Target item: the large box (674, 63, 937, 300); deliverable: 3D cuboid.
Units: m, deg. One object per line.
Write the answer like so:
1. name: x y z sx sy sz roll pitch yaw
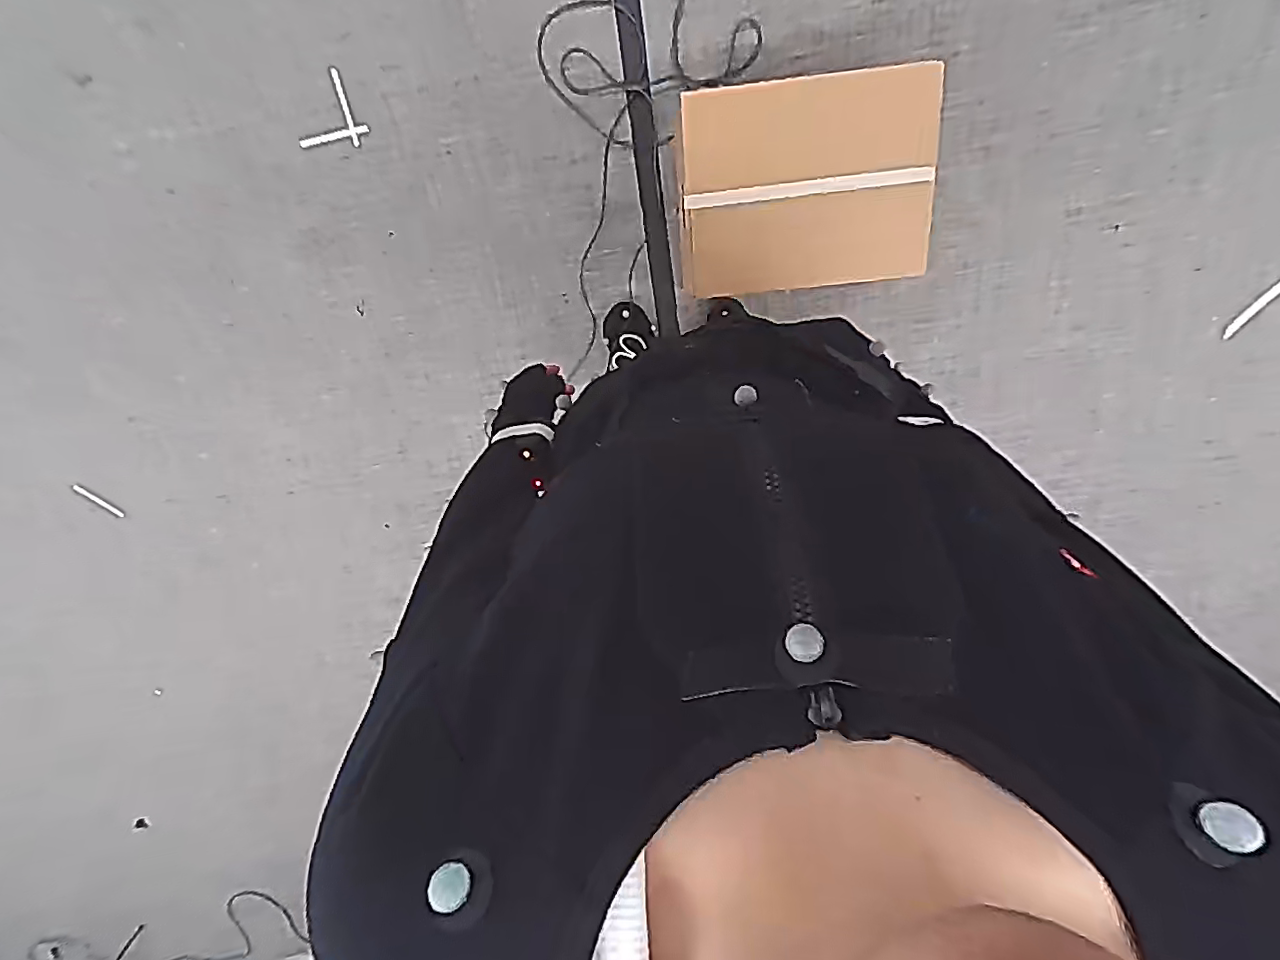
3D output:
1. large box: 0.281 -0.539 1.038 0.408 0.320 0.320 -5 113 4
